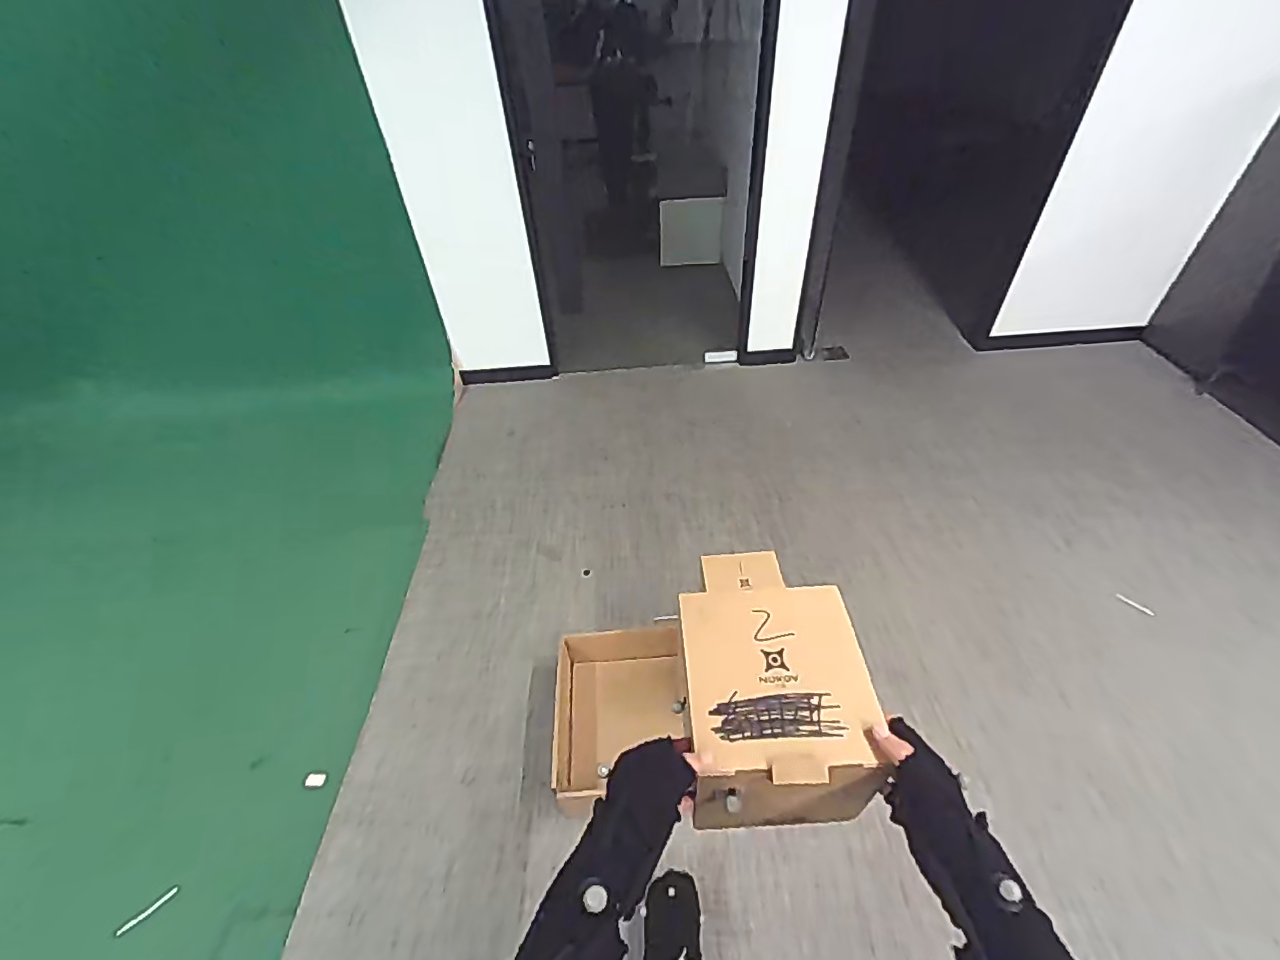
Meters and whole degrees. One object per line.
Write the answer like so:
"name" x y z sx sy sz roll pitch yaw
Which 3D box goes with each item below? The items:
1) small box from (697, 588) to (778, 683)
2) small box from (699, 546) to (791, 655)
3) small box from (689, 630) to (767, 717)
"small box" 0.229 0.367 1.285 0.168 0.176 0.179 -5 44 0
"small box" 0.220 0.267 1.177 0.168 0.176 0.179 -4 44 0
"small box" 0.226 0.500 1.410 0.168 0.176 0.179 -9 44 -2
